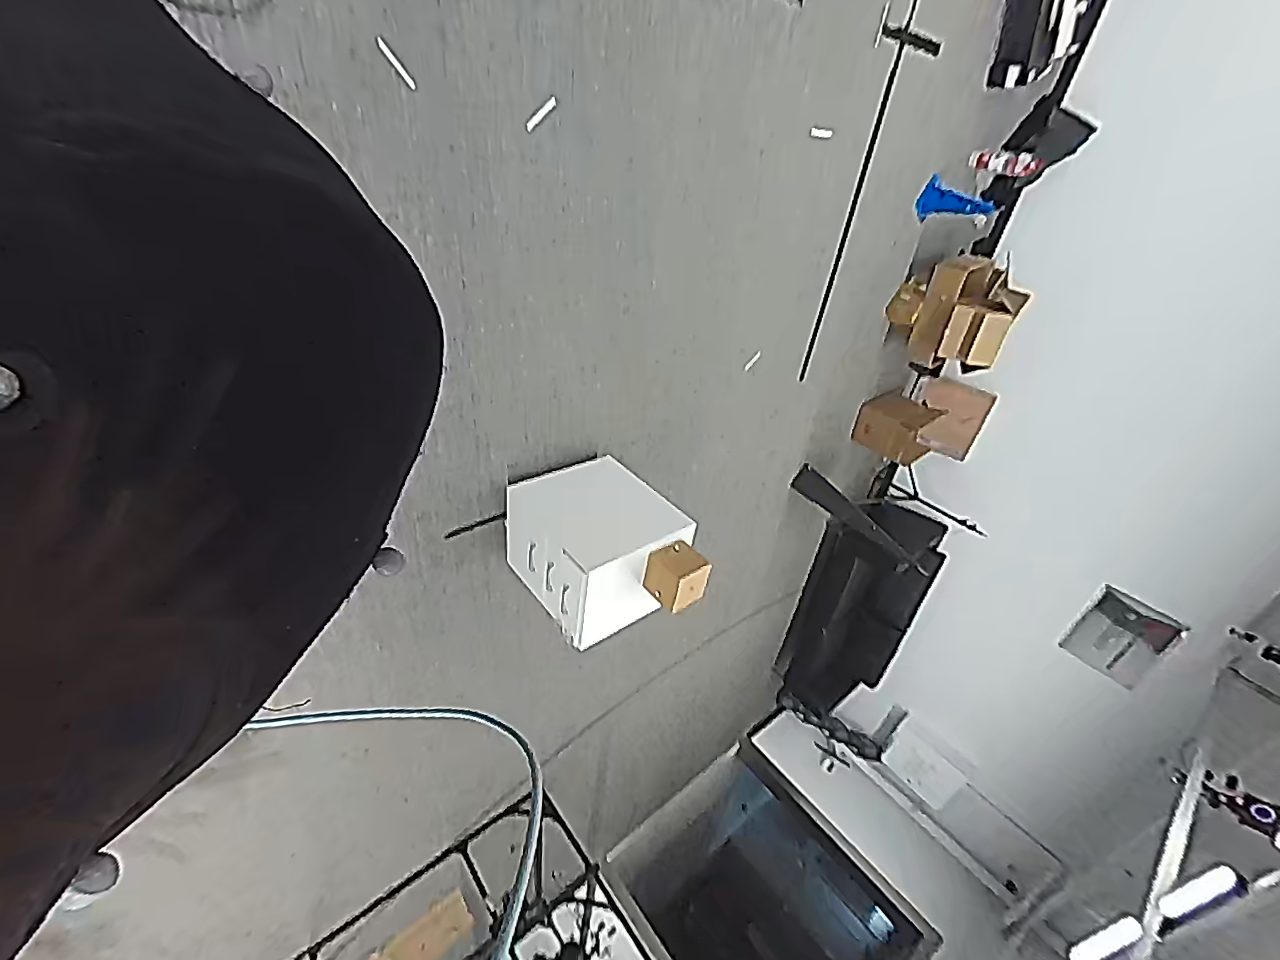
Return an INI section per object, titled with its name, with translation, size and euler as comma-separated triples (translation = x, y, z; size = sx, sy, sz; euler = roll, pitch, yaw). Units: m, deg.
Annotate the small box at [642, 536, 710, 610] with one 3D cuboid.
[small box]
translation = 0.127, 0.338, 1.996
size = 0.168, 0.176, 0.179
euler = -20, 134, -37
